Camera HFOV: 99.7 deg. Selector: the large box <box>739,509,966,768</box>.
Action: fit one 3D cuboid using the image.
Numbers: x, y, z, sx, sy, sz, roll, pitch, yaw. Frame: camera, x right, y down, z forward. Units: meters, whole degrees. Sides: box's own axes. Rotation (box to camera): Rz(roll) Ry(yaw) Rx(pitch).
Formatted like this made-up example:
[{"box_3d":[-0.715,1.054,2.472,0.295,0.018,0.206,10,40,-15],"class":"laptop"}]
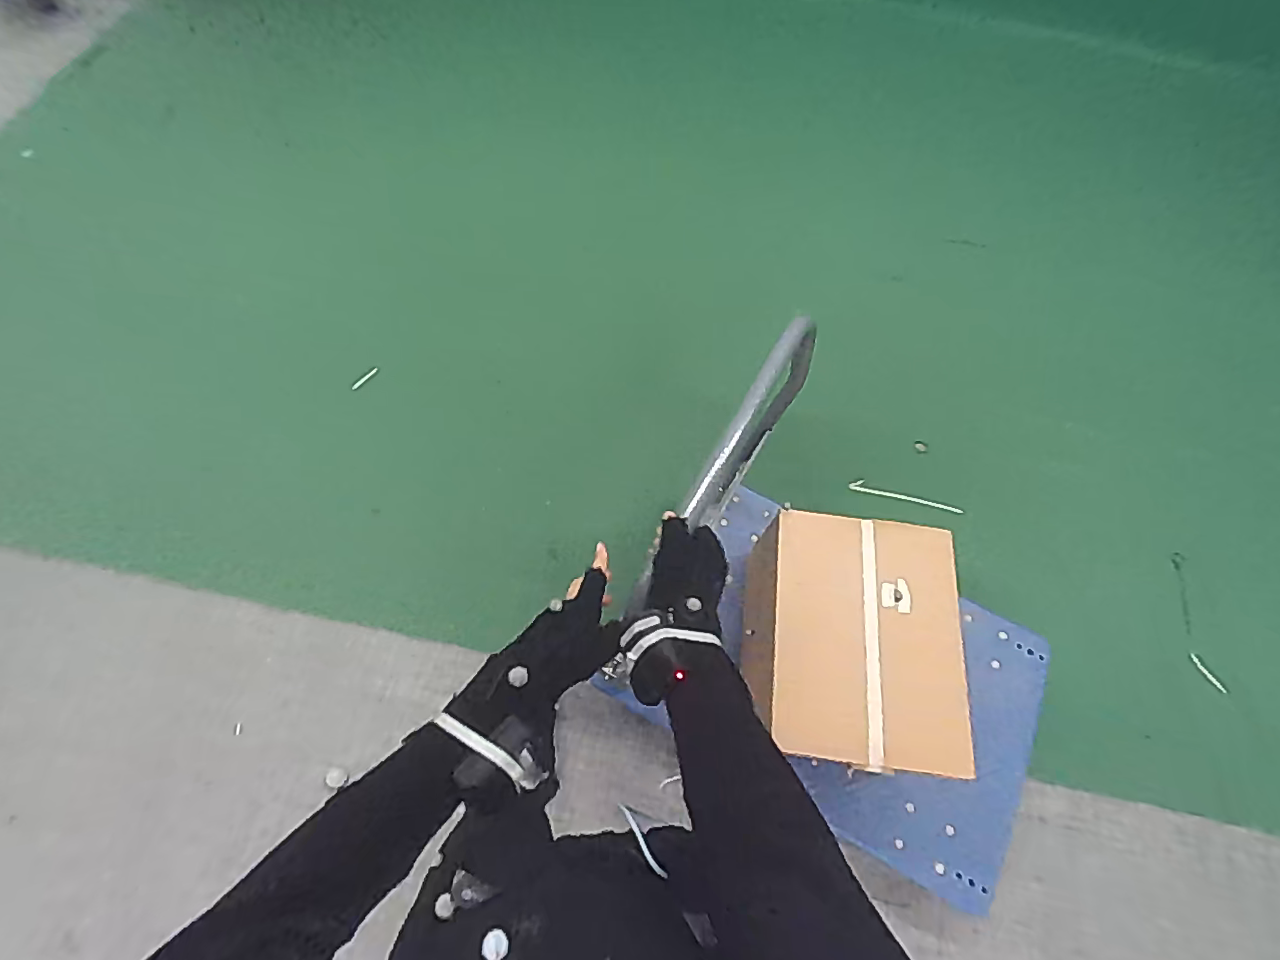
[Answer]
[{"box_3d":[0.375,0.313,1.052,0.320,0.320,0.408,8,65,2],"class":"large box"}]
